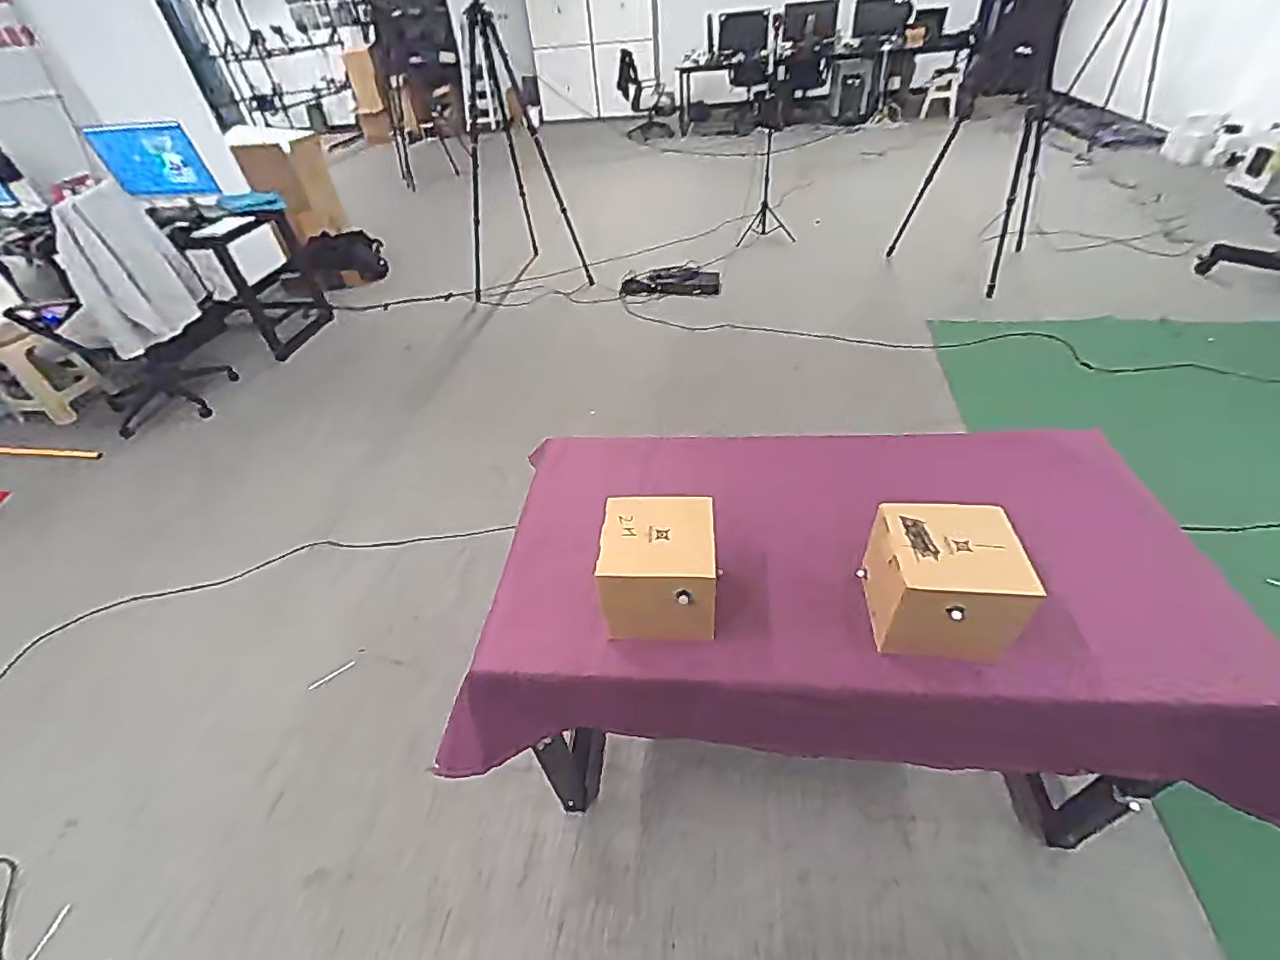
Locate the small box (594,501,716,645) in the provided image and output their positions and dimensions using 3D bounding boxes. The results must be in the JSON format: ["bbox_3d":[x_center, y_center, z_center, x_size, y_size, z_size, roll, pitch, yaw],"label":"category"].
[{"bbox_3d":[0.031,0.153,0.881,0.179,0.176,0.168,0,41,7],"label":"small box"}]

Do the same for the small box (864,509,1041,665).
[{"bbox_3d":[0.451,0.163,0.820,0.179,0.176,0.168,2,42,8],"label":"small box"}]
